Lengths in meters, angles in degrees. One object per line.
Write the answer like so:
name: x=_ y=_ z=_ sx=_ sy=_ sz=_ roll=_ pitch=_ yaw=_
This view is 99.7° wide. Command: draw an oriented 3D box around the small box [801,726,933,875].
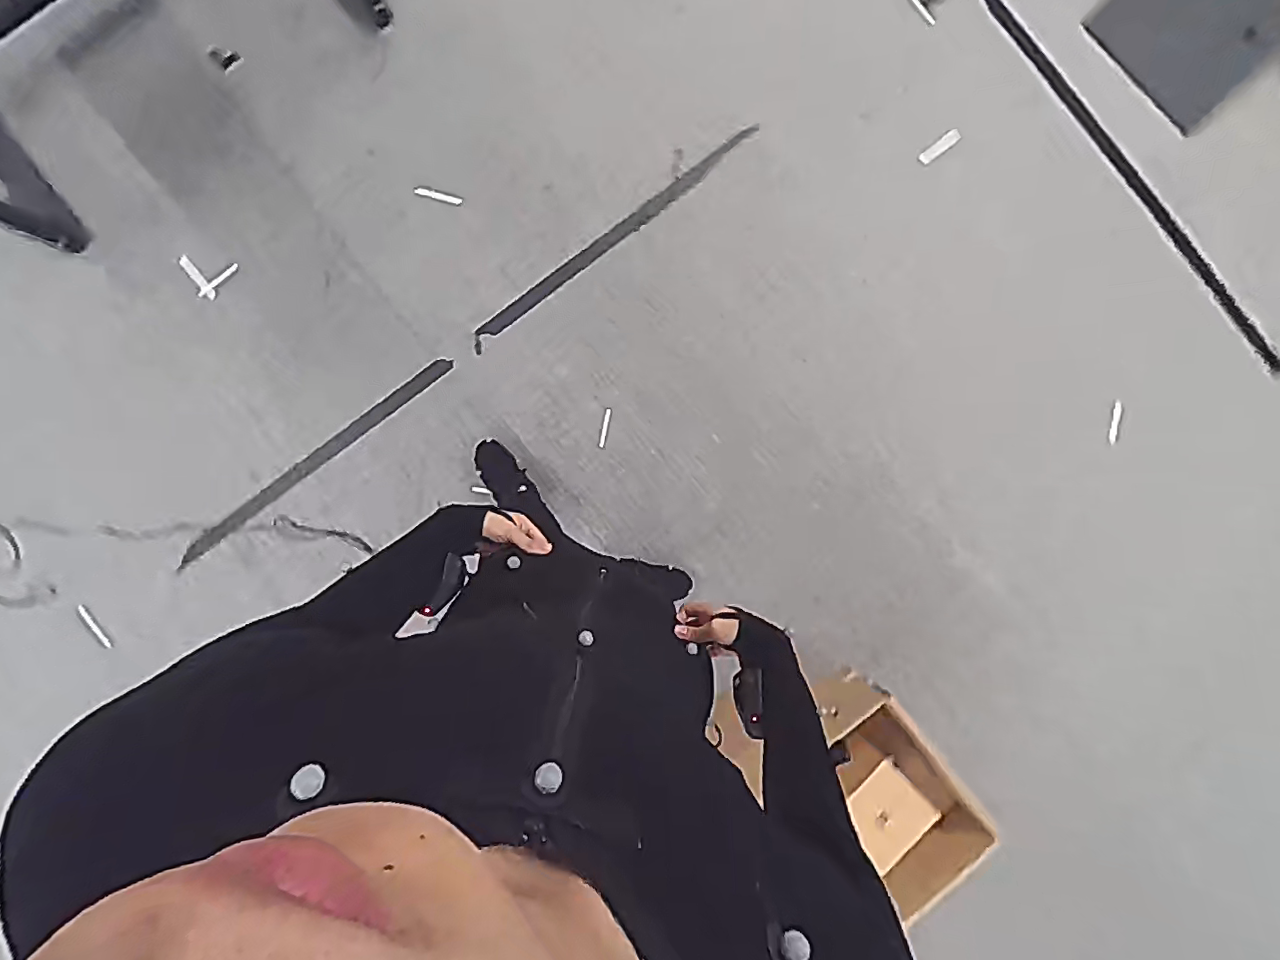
small box: x=0.468 y=0.672 z=1.156 sx=0.179 sy=0.176 sz=0.168 roll=-43 pitch=92 yaw=-3
